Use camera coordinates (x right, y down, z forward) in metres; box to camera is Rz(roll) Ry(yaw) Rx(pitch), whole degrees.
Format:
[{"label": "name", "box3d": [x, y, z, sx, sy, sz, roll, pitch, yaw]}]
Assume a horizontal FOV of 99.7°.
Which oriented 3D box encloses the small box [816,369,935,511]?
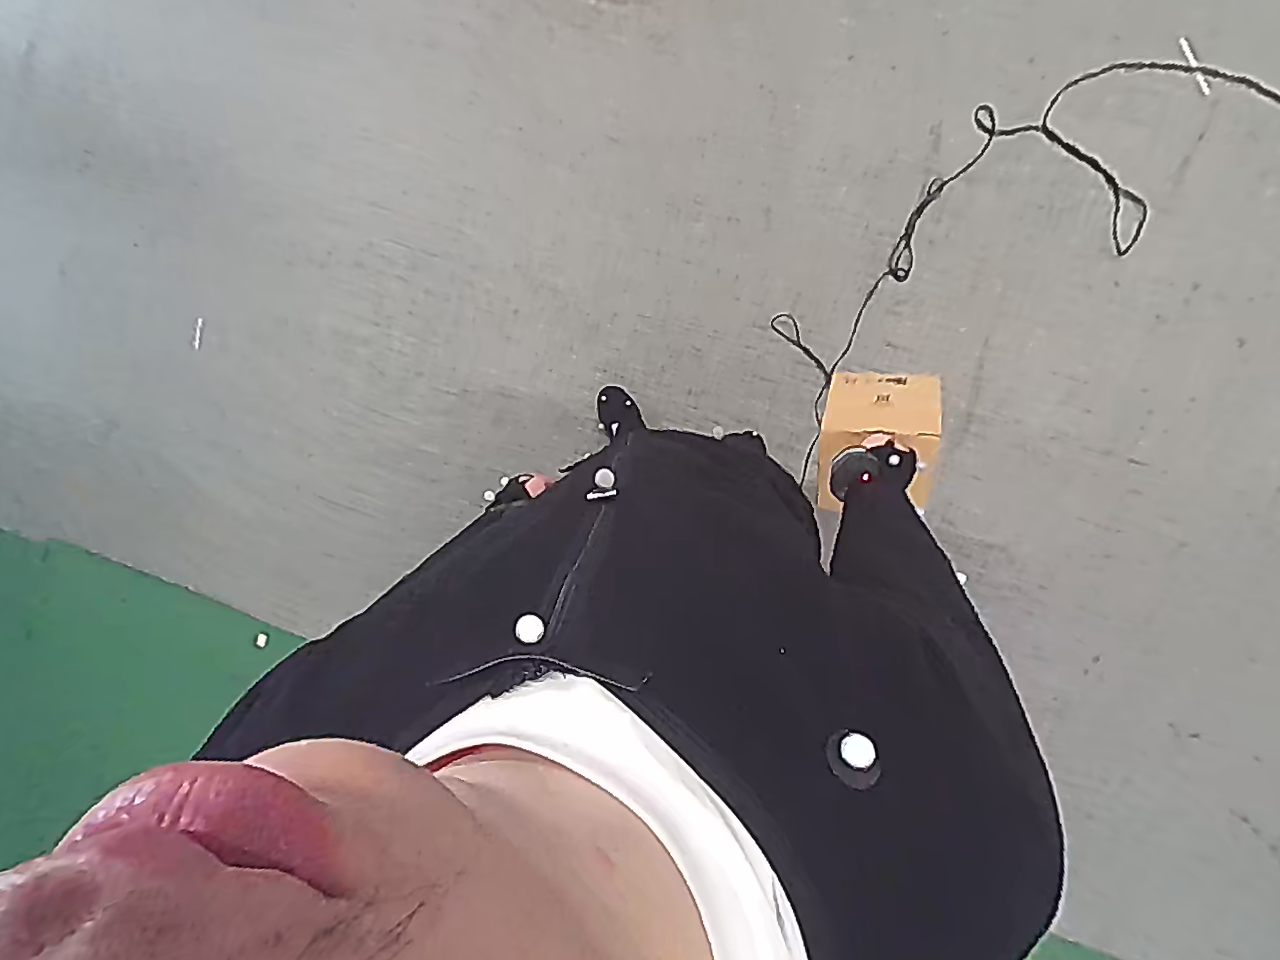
[{"label": "small box", "box3d": [0.391, -0.066, 0.900, 0.168, 0.179, 0.176, 4, 131, 24]}]
